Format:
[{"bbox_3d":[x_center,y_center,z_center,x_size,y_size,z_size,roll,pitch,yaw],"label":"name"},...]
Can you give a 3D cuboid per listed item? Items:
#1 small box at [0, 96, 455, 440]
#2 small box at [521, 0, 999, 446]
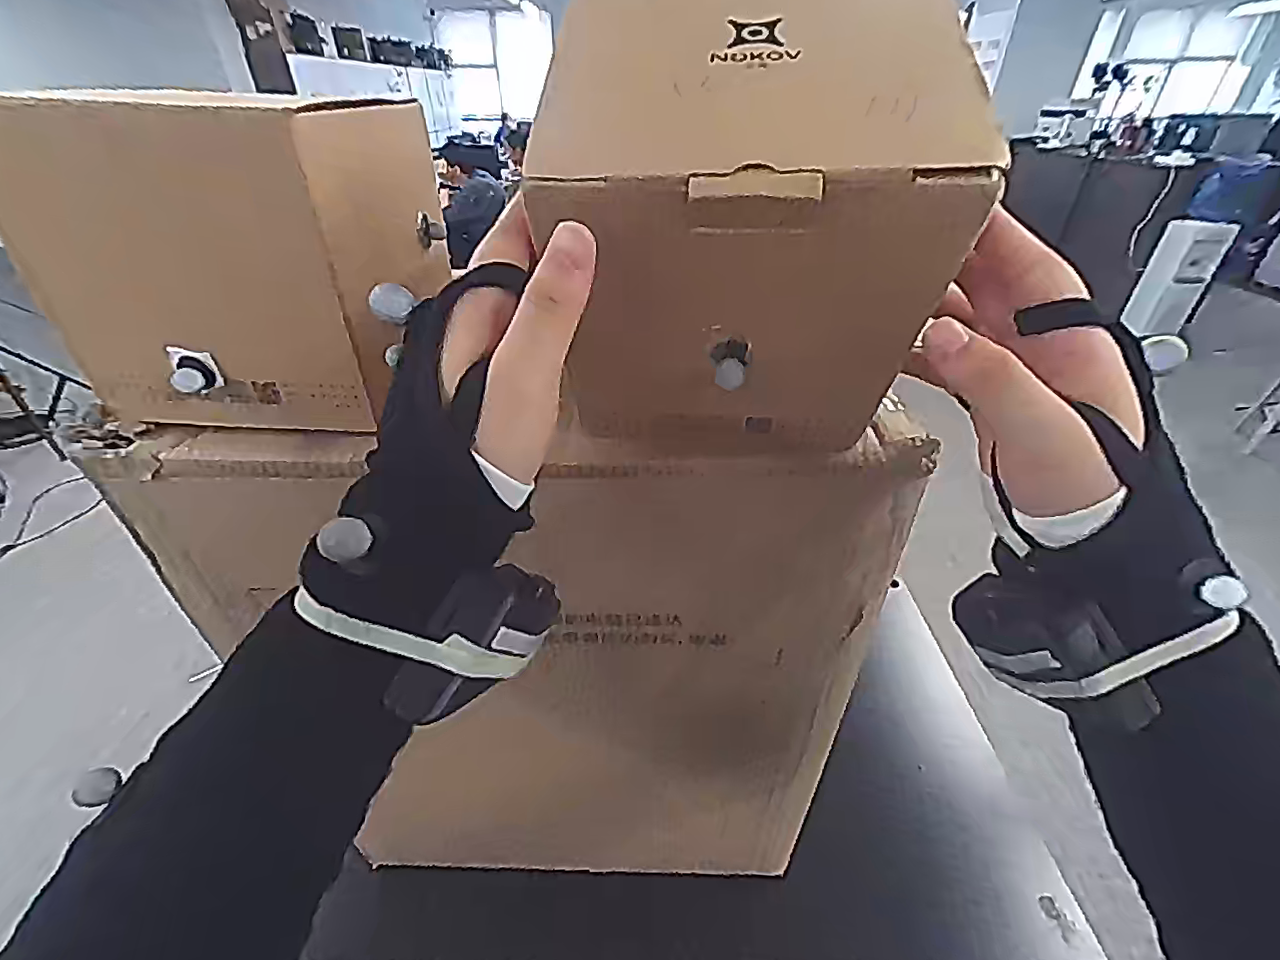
[{"bbox_3d":[-0.232,-0.143,0.353,0.168,0.176,0.179,1,37,0],"label":"small box"},{"bbox_3d":[0.050,-0.133,0.292,0.168,0.176,0.179,3,62,5],"label":"small box"}]
